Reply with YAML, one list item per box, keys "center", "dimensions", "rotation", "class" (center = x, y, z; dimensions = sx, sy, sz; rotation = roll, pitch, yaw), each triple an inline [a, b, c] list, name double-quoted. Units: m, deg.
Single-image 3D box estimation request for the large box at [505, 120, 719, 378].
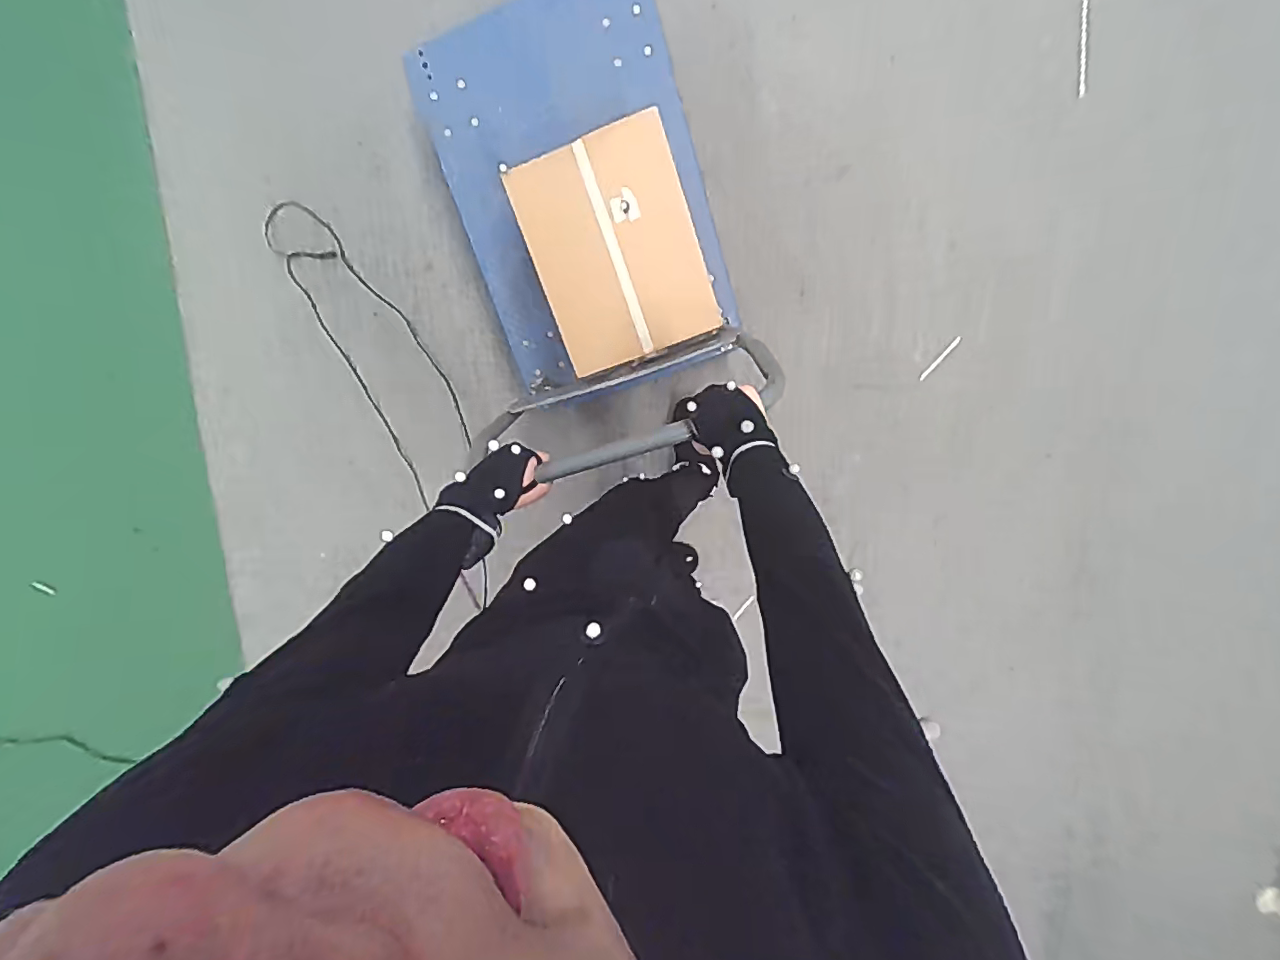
- center: [-0.040, -0.477, 1.203]
  dimensions: [0.320, 0.320, 0.408]
  rotation: [-19, 103, 8]
  class: "large box"
